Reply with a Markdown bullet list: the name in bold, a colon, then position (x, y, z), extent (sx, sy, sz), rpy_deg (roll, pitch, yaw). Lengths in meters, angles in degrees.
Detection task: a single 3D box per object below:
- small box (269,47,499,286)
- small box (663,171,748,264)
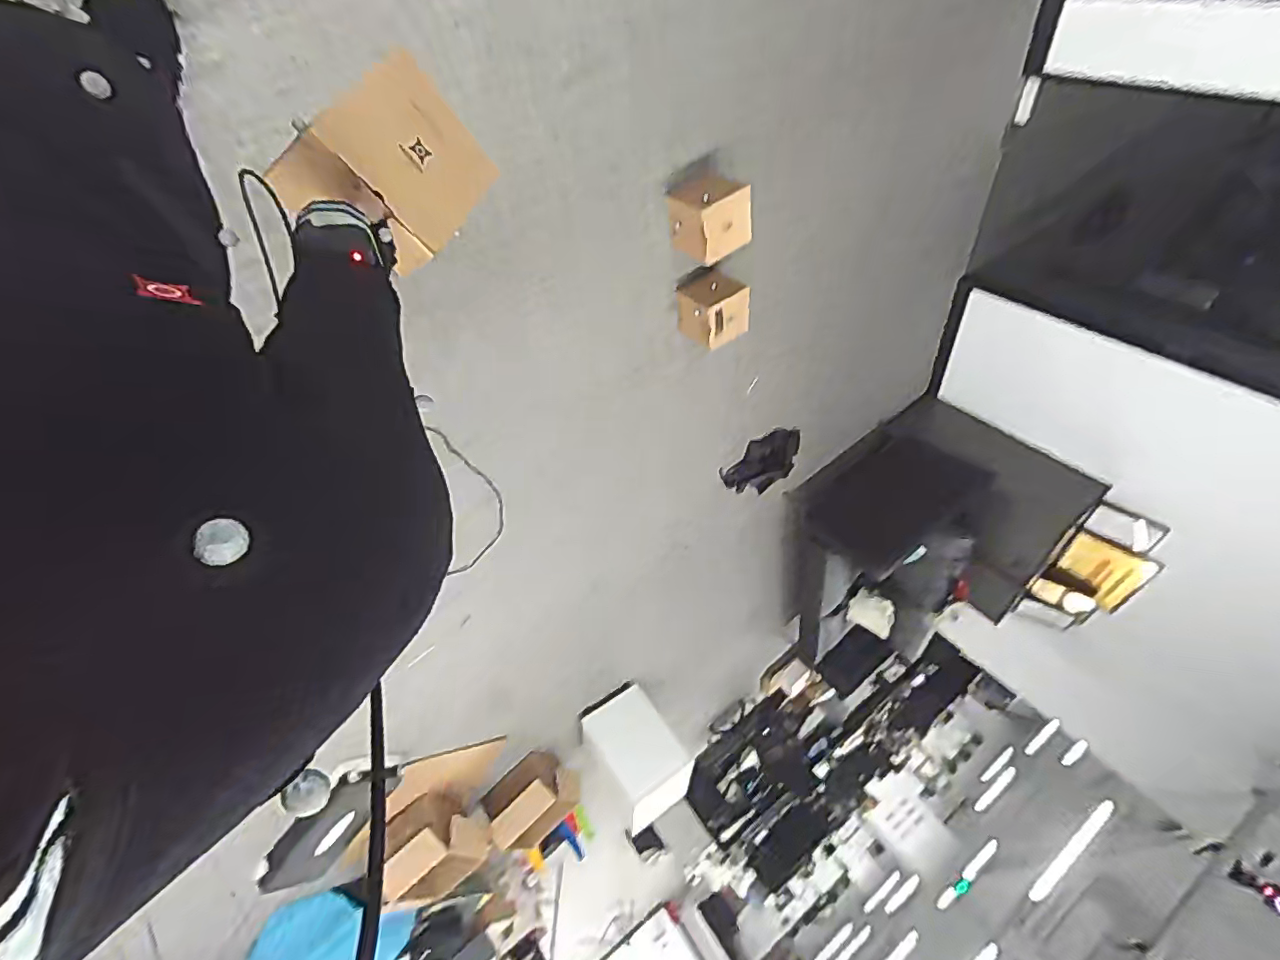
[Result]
- **small box**: position (-0.318, -0.371, 0.671), extent (0.168, 0.176, 0.179), rpy_deg (47, 53, -41)
- **small box**: position (0.192, -0.767, 1.571), extent (0.179, 0.176, 0.168), rpy_deg (-35, 143, -14)
